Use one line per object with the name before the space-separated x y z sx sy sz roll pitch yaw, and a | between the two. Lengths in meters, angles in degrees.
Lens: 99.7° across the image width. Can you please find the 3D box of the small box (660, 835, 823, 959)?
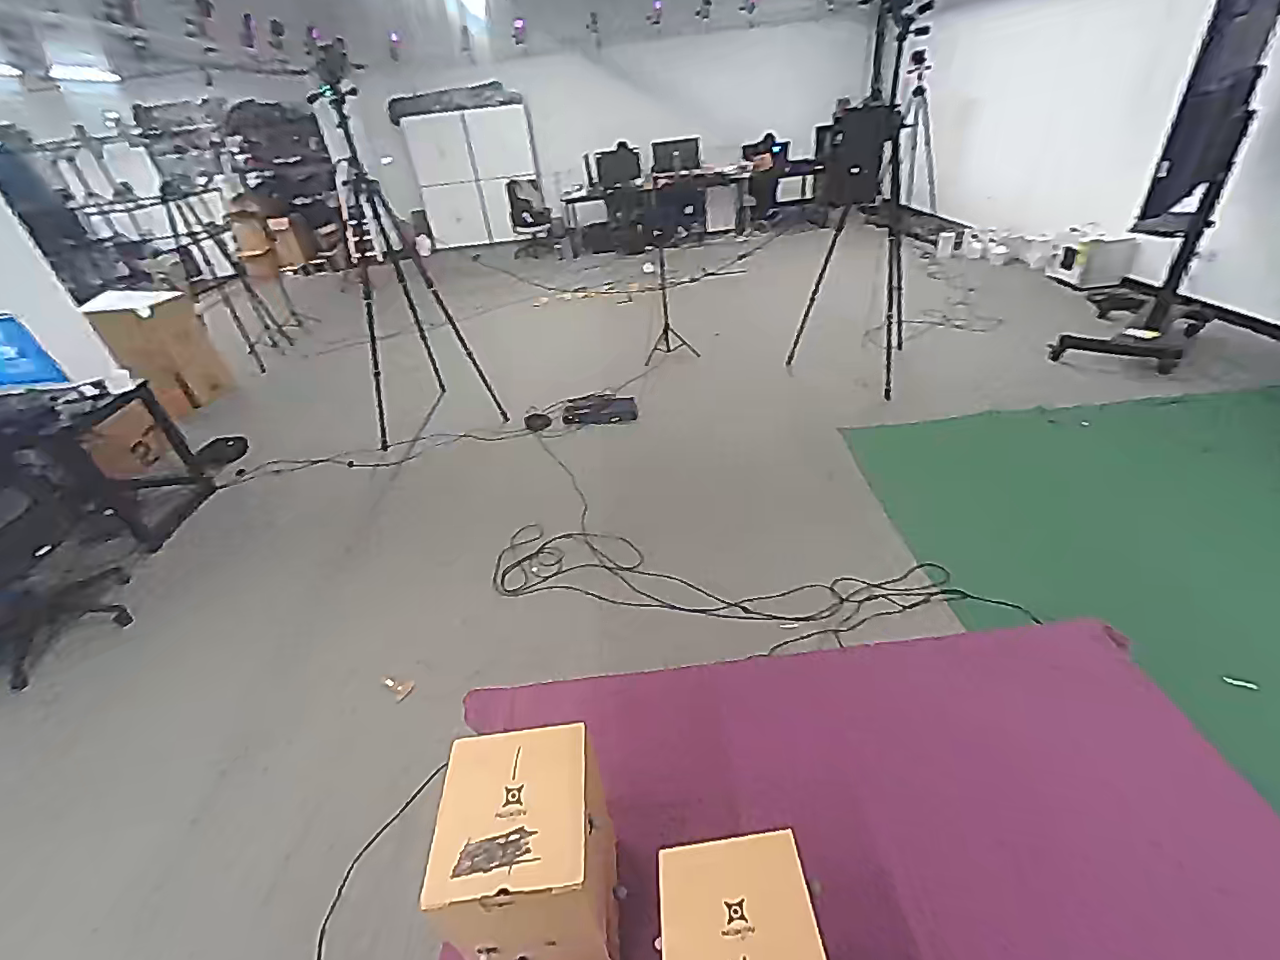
small box | 0.120 0.542 0.601 0.168 0.176 0.179 -13 24 6

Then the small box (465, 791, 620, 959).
small box | -0.120 0.561 0.736 0.168 0.176 0.179 -8 34 0

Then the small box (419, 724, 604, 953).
small box | -0.135 0.426 0.642 0.168 0.176 0.179 -7 34 -1
